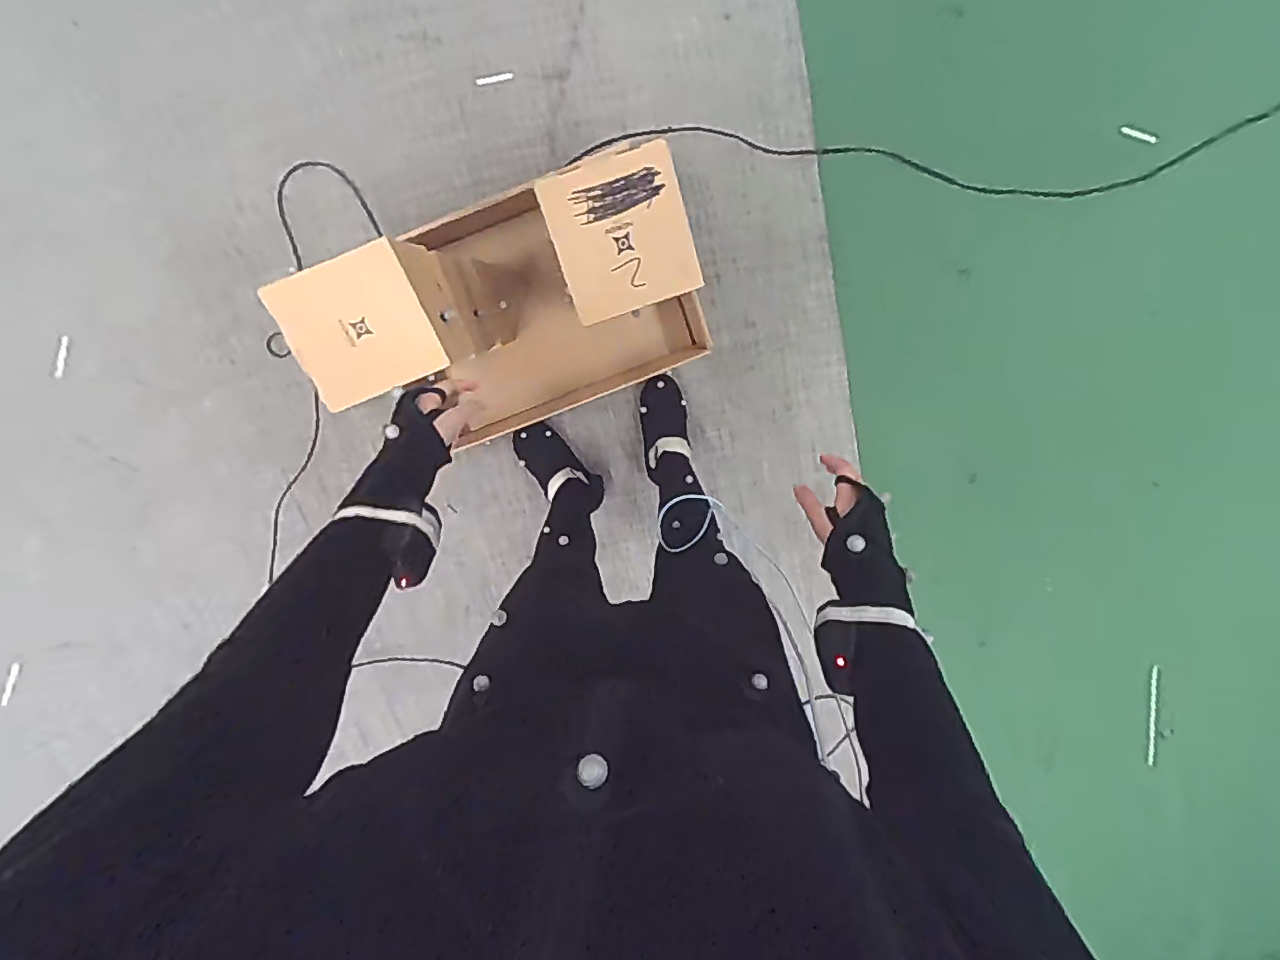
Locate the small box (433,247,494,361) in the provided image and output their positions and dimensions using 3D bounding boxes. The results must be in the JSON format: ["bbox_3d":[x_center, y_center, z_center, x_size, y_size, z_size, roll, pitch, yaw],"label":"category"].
[{"bbox_3d":[-0.362,-0.272,0.899,0.179,0.176,0.168,-16,109,0],"label":"small box"}]

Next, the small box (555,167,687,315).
[{"bbox_3d":[-0.030,-0.380,0.888,0.168,0.176,0.179,-16,107,0],"label":"small box"}]

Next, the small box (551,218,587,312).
[{"bbox_3d":[-0.057,-0.427,1.044,0.179,0.176,0.168,-16,108,1],"label":"small box"}]

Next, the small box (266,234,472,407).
[{"bbox_3d":[-0.349,-0.222,0.745,0.179,0.176,0.168,-21,110,3],"label":"small box"}]
